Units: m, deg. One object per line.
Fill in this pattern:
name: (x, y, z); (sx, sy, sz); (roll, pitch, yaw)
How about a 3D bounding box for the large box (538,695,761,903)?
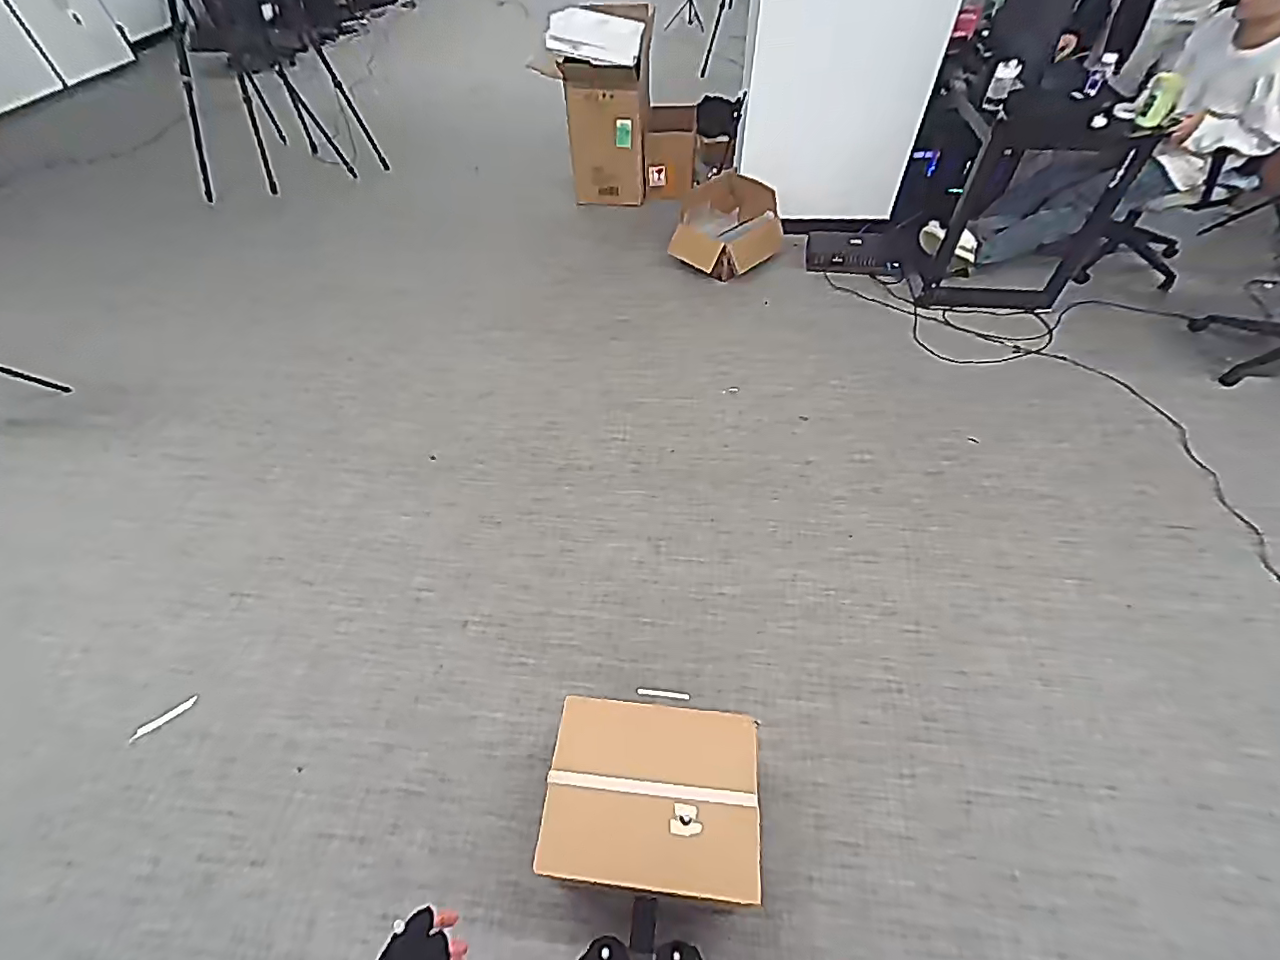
large box: (0.026, 0.684, 1.157); (0.408, 0.320, 0.320); (5, 51, 4)
